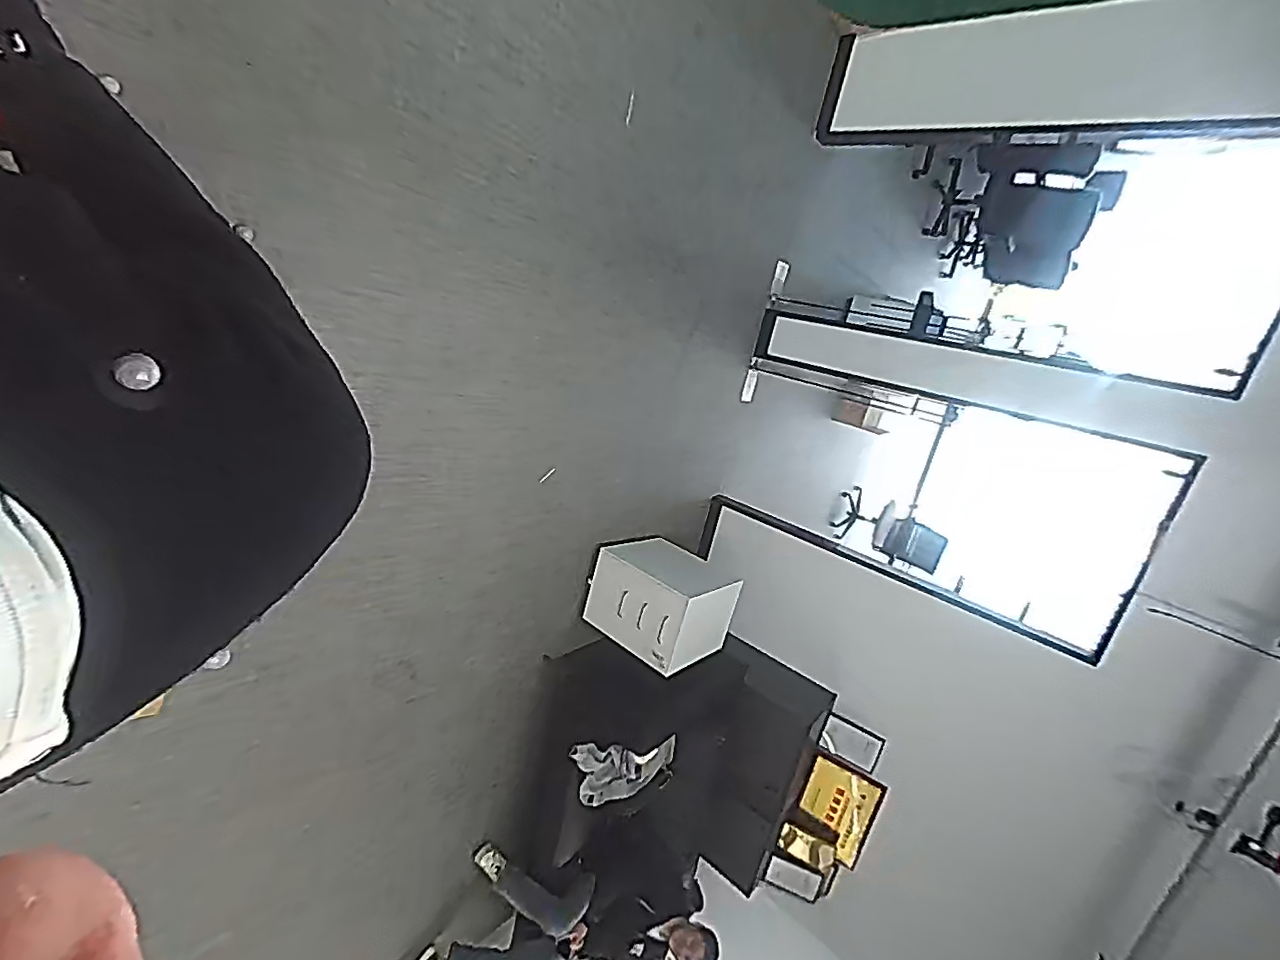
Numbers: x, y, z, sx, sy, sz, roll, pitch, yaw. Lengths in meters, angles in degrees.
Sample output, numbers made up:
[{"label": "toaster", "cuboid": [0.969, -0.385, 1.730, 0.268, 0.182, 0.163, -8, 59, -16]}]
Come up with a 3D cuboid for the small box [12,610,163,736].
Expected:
[{"label": "small box", "cuboid": [-1.132, 0.382, 1.106, 0.179, 0.176, 0.168, 14, 100, -57]}]
